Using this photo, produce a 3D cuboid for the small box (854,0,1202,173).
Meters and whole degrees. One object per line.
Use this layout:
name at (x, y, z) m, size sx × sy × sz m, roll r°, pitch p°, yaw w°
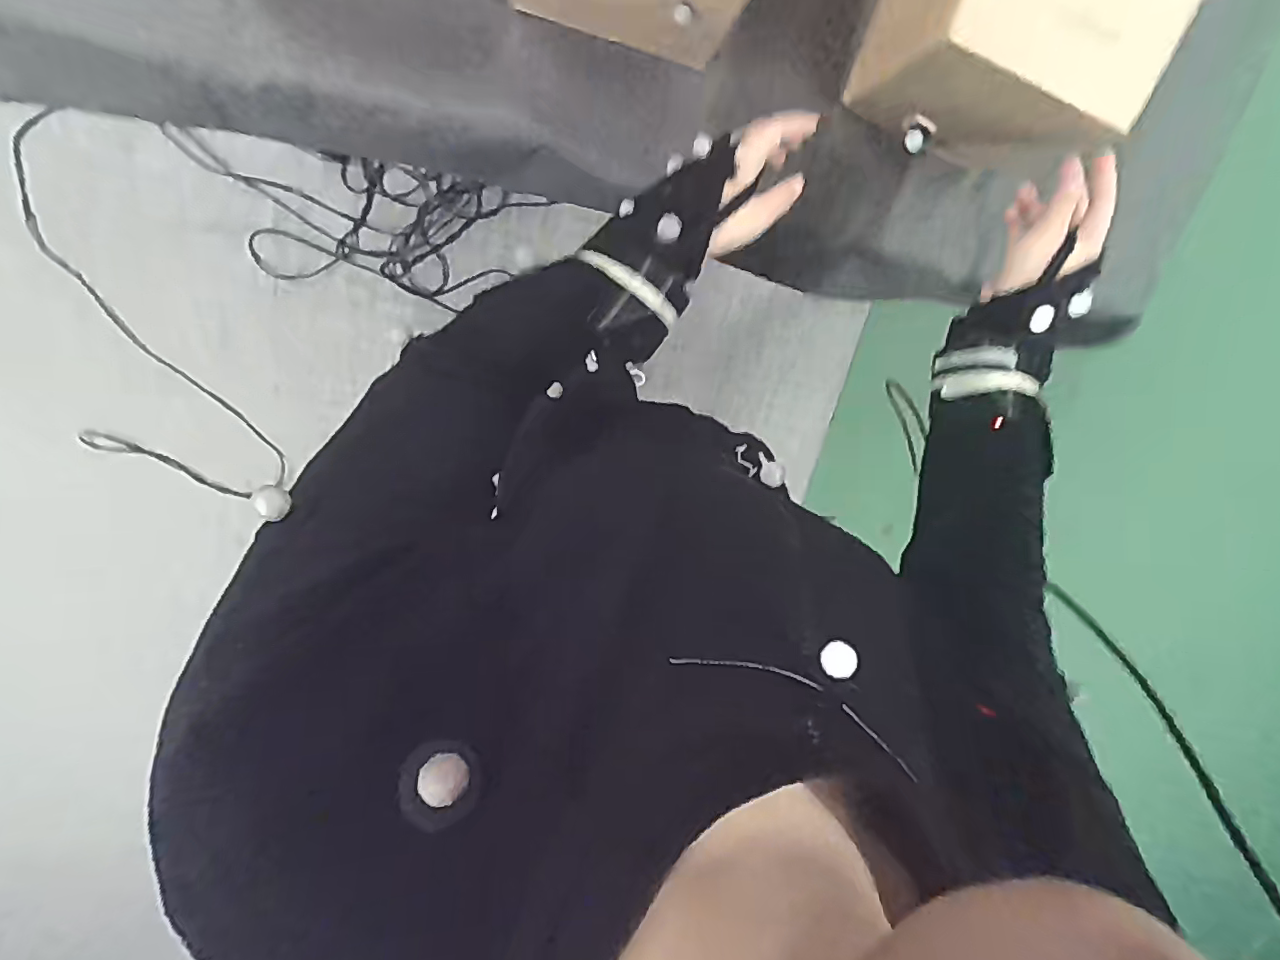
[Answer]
small box at (0.307, -0.382, 0.438) m, size 0.168 × 0.176 × 0.179 m, roll 16°, pitch 108°, yaw -11°
